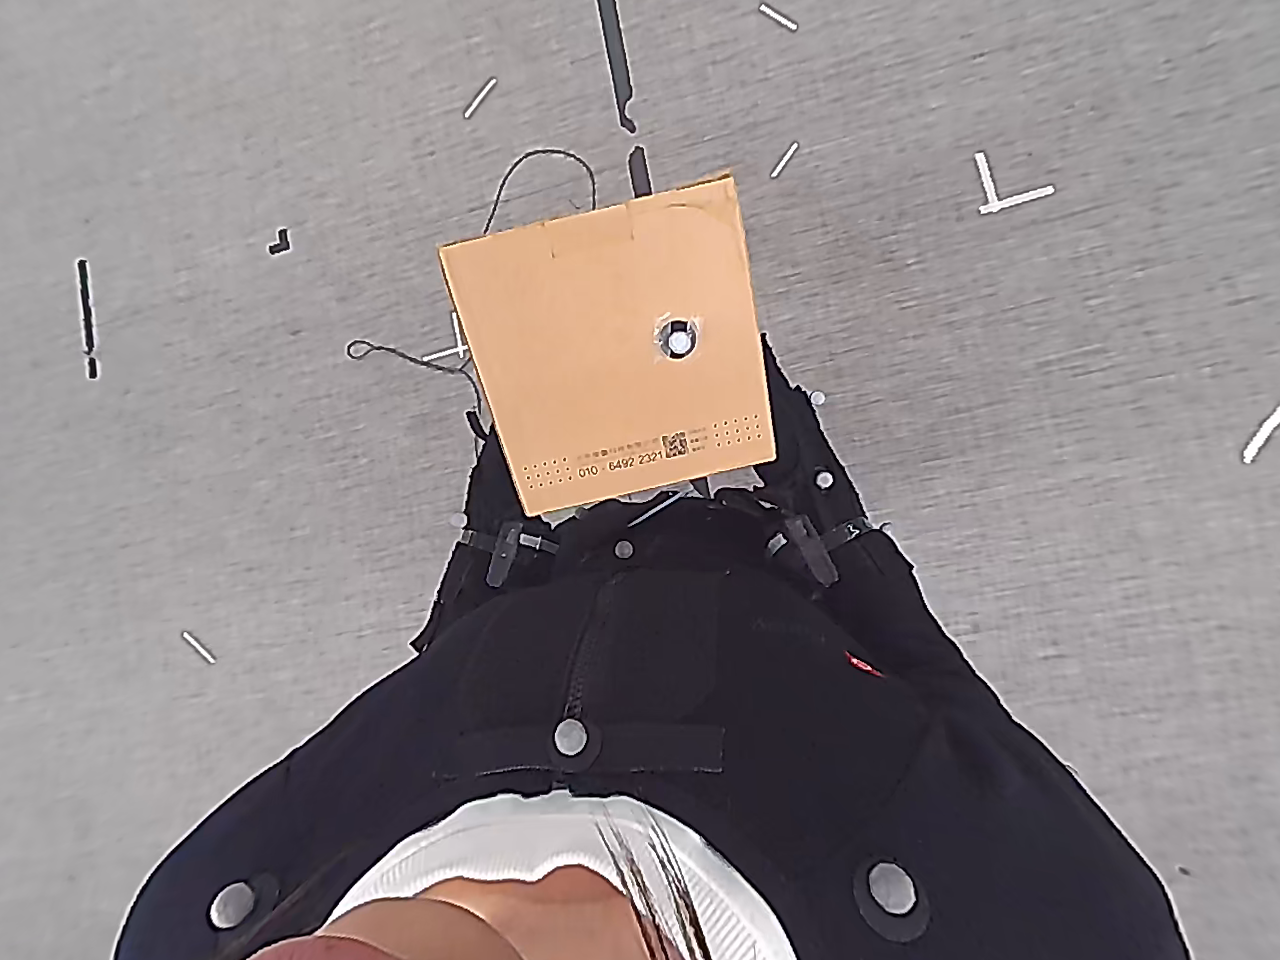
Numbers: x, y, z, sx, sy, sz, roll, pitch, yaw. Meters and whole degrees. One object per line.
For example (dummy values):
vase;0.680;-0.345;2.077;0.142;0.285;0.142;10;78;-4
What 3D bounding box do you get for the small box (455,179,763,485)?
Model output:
small box;-0.012;-0.106;0.411;0.168;0.179;0.176;-12;112;3
